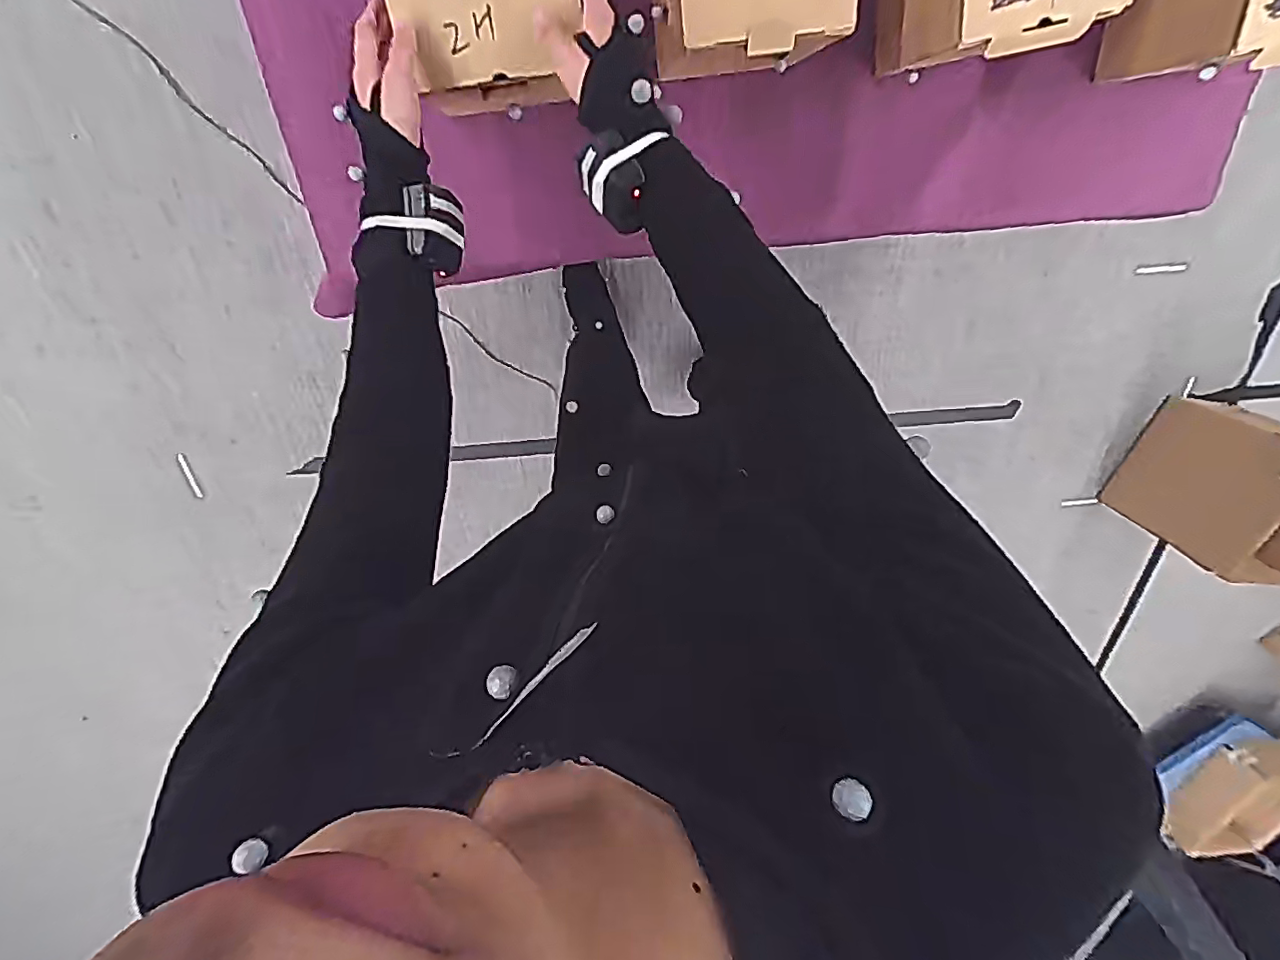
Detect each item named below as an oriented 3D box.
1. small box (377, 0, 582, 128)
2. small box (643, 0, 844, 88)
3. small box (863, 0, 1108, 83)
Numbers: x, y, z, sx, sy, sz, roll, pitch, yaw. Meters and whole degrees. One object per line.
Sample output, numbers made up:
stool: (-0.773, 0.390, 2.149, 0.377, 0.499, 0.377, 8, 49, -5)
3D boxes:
small box: (-0.153, -0.464, 0.526, 0.168, 0.176, 0.179, -9, 118, -1)
small box: (0.094, -0.509, 0.537, 0.168, 0.176, 0.179, -8, 118, -3)
small box: (0.345, -0.533, 0.555, 0.168, 0.176, 0.179, -13, 117, 0)
